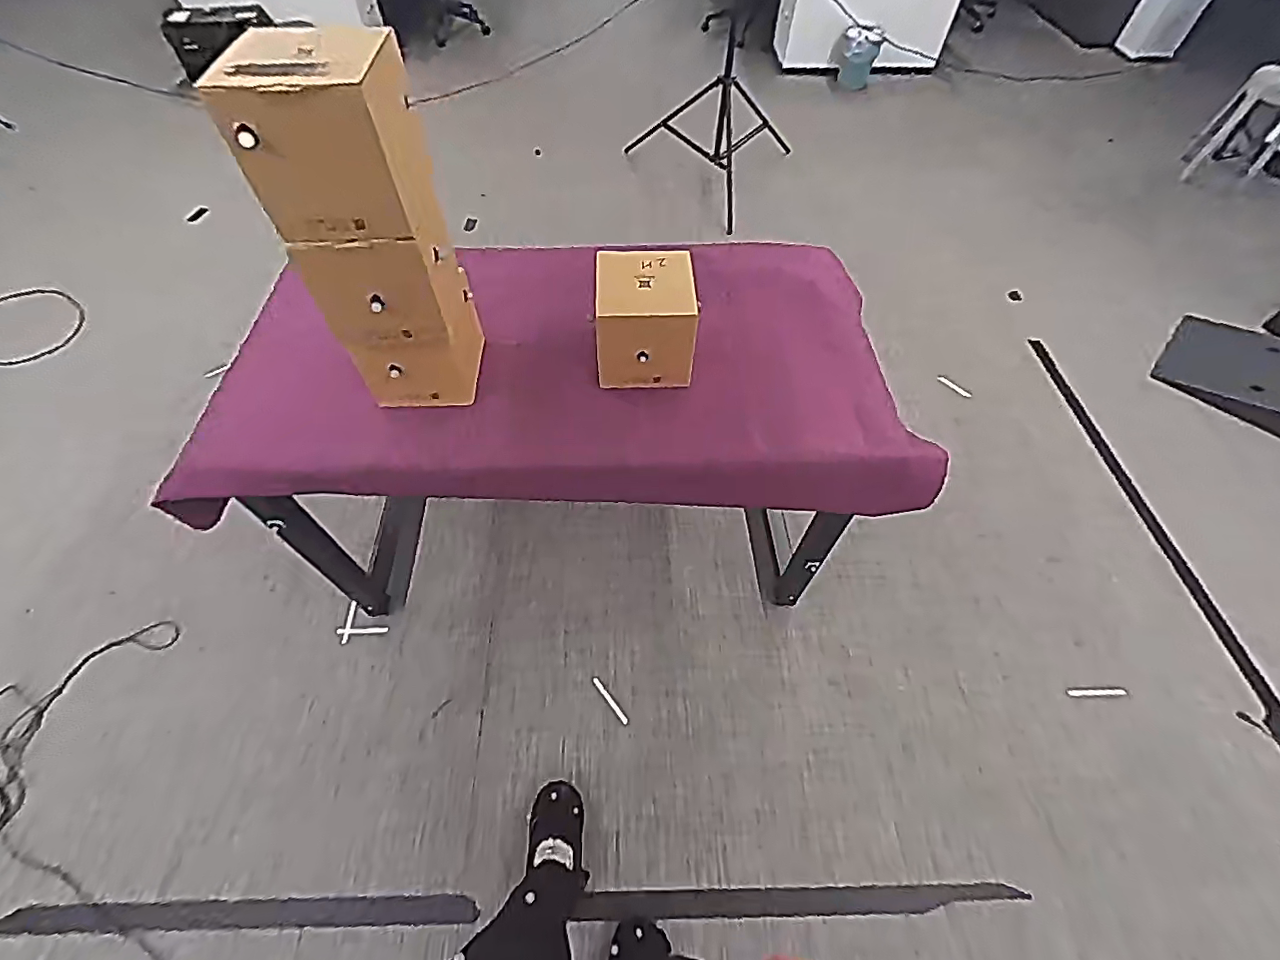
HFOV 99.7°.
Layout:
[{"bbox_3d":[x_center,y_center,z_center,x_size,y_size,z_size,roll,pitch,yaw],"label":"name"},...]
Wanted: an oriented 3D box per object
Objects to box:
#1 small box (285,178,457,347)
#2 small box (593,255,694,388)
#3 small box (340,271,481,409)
[{"bbox_3d":[-0.376,-0.311,0.794,0.168,0.176,0.179,-6,57,-5],"label":"small box"},{"bbox_3d":[0.004,-0.280,0.975,0.168,0.176,0.179,-1,56,-2],"label":"small box"},{"bbox_3d":[-0.383,-0.237,0.942,0.168,0.176,0.179,-2,56,-2],"label":"small box"}]
